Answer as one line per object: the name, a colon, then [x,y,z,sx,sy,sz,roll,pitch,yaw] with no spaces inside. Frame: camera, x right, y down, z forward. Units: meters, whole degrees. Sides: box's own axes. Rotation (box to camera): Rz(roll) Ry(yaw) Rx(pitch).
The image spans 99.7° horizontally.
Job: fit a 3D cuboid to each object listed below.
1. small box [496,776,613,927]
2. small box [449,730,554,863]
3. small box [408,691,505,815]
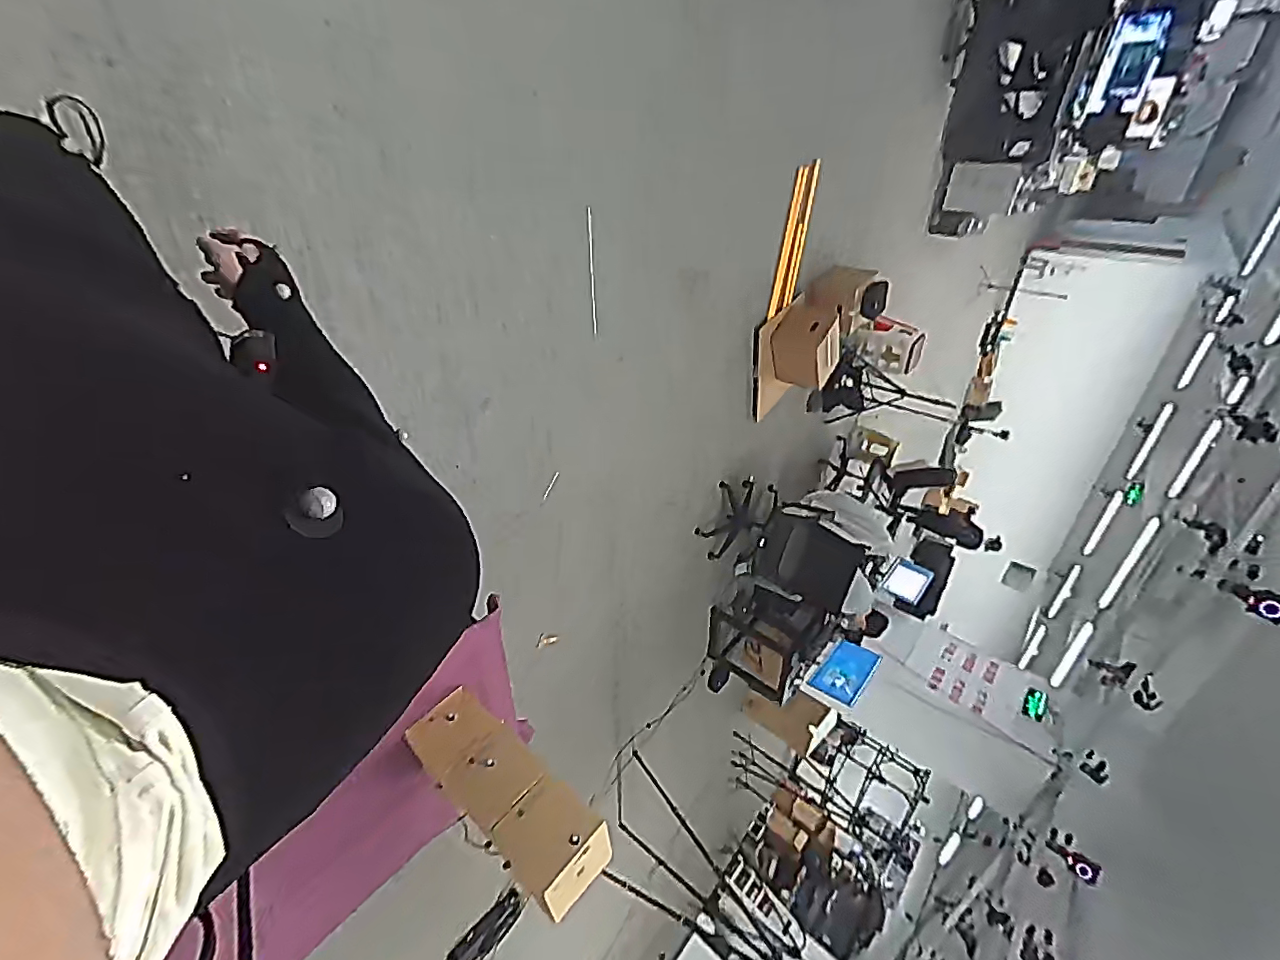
small box: [-0.175,0.764,1.126,0.168,0.176,0.179,-35,136,-37]
small box: [-0.299,0.704,1.217,0.168,0.176,0.179,-37,137,-35]
small box: [-0.427,0.651,1.305,0.168,0.176,0.179,-36,136,-36]
